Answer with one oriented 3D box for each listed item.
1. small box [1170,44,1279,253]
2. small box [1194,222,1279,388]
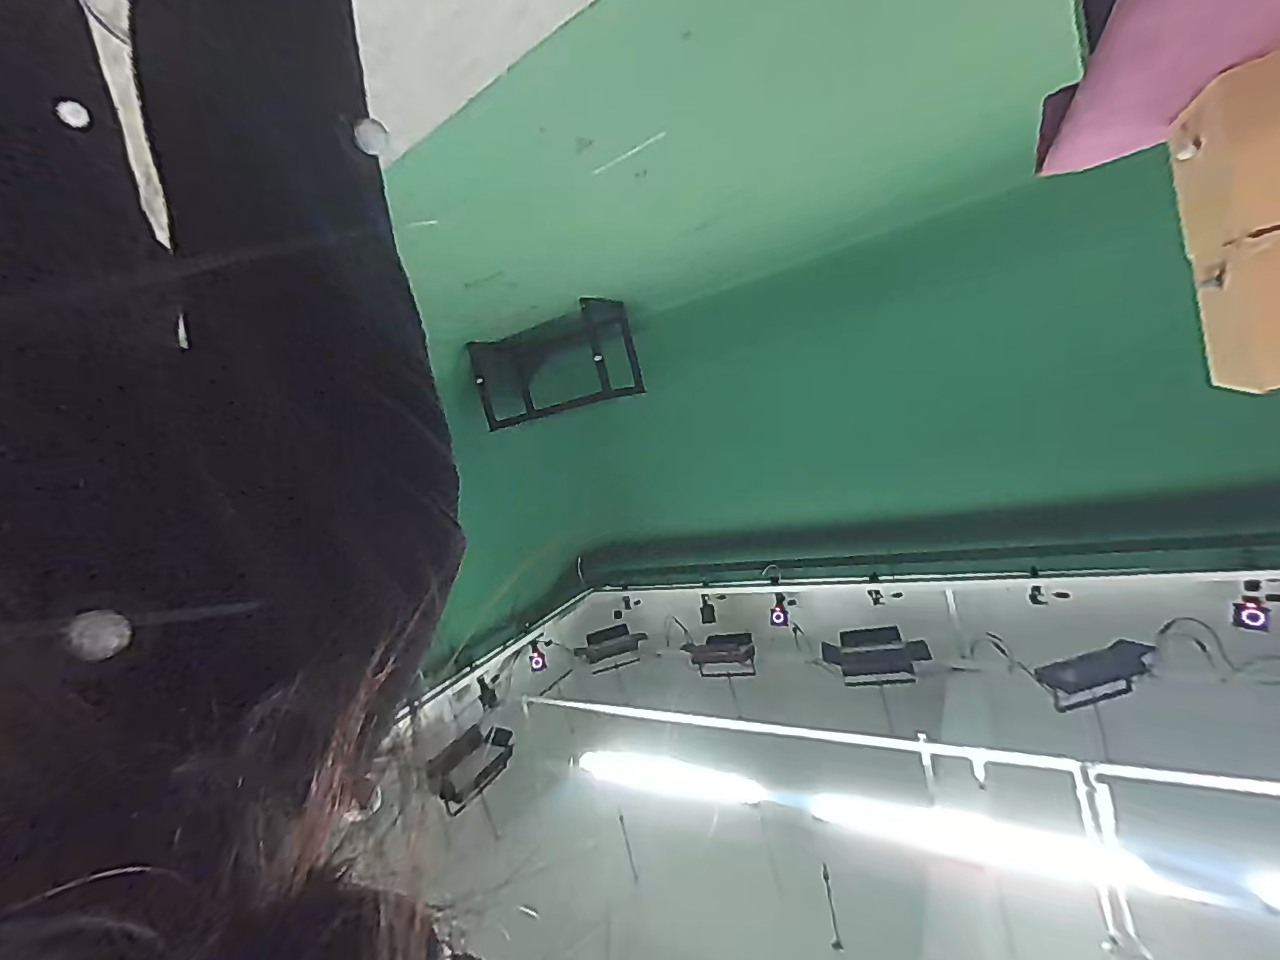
[{"bbox_3d":[0.710,-0.366,0.569,0.179,0.176,0.168,-10,-174,32],"label":"small box"},{"bbox_3d":[0.749,-0.208,0.579,0.179,0.176,0.168,-11,-174,34],"label":"small box"}]
